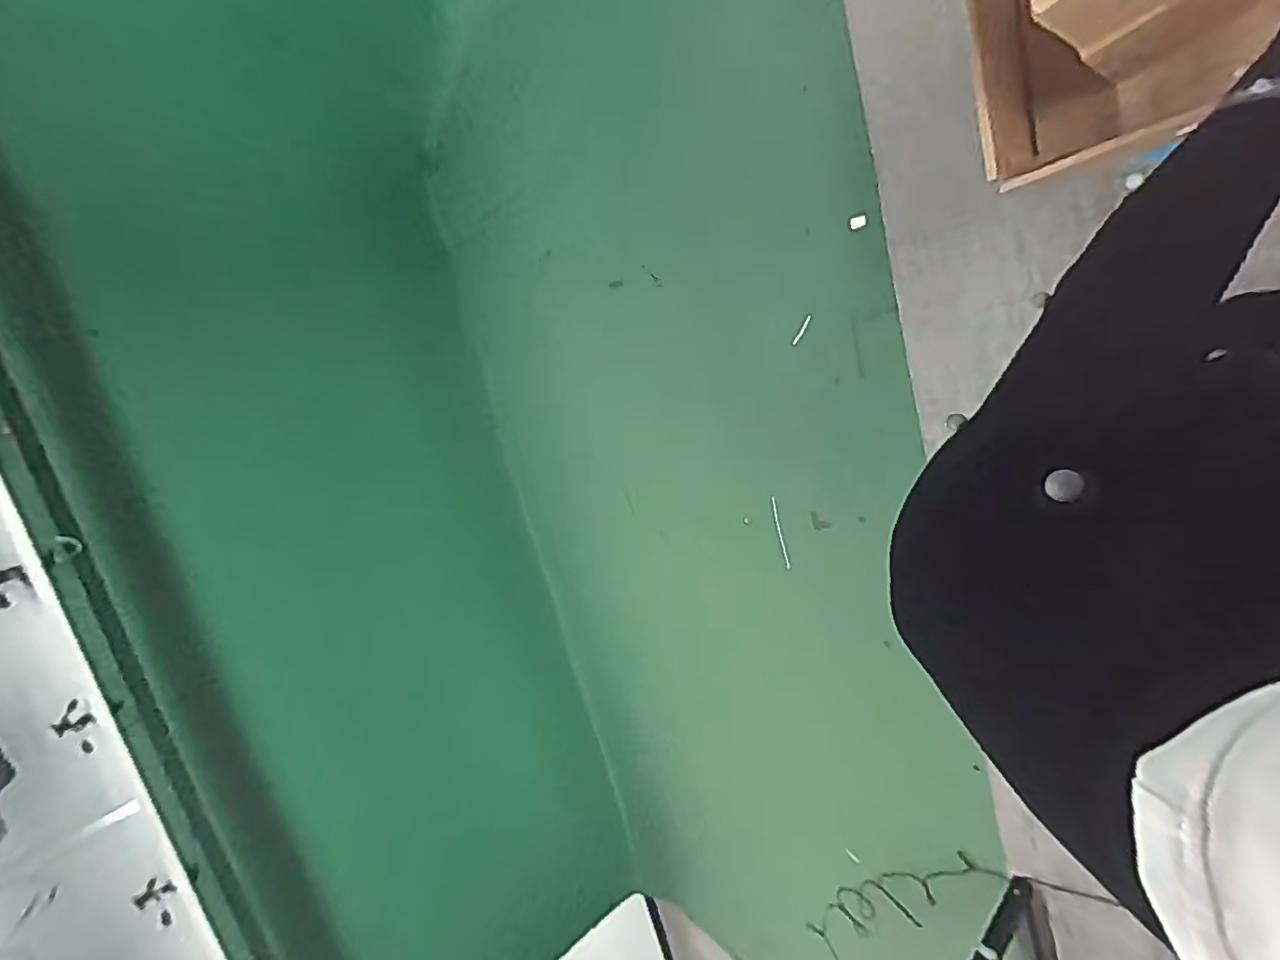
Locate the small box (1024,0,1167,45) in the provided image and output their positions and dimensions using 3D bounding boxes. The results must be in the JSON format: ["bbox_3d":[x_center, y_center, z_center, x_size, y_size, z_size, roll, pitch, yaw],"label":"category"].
[{"bbox_3d":[0.446,-0.525,0.464,0.179,0.176,0.168,-11,98,54],"label":"small box"}]
